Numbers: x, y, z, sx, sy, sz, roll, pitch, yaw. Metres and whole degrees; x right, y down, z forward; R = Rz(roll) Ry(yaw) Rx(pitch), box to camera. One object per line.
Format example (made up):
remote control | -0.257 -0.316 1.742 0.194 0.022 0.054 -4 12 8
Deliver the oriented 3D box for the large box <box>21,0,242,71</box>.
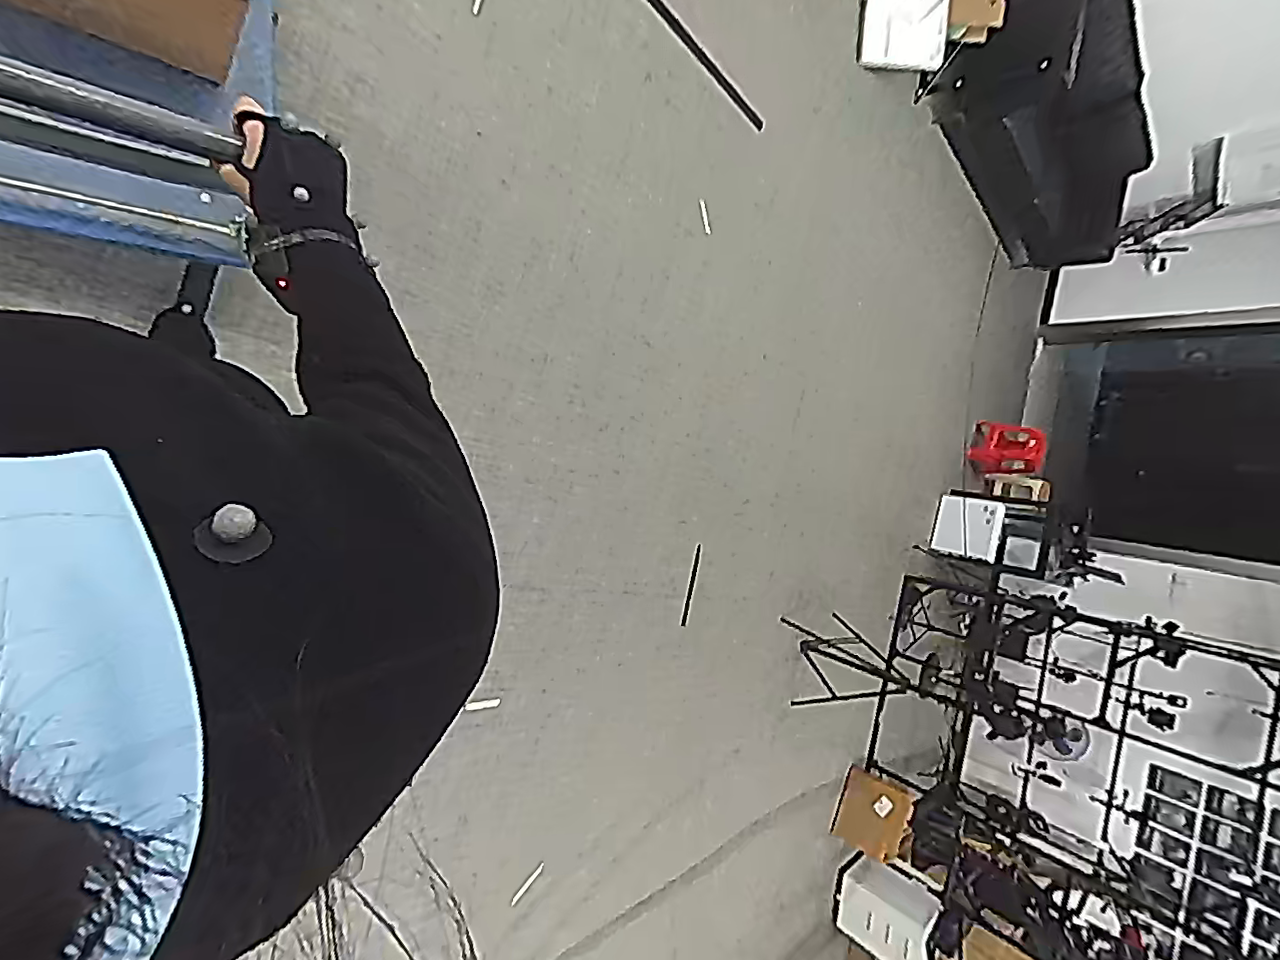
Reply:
large box | -0.807 -0.865 0.736 0.408 0.320 0.320 -2 98 -42
